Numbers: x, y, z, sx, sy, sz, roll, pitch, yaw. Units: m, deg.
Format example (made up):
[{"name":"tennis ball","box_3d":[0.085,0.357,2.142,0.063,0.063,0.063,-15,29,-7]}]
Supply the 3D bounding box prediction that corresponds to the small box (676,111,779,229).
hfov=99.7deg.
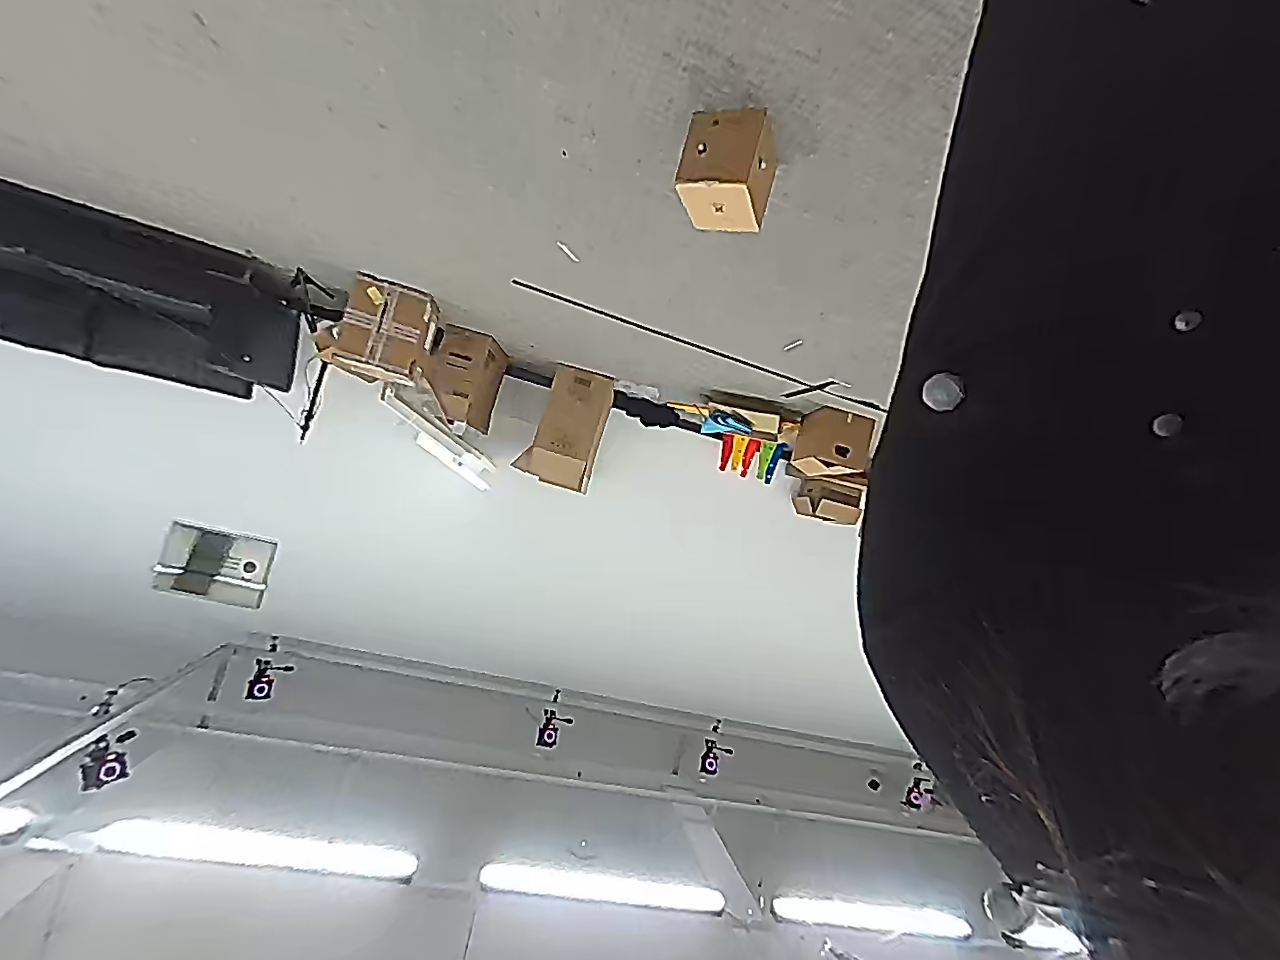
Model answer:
[{"name":"small box","box_3d":[0.200,-0.688,1.205,0.168,0.176,0.179,15,178,24]}]
